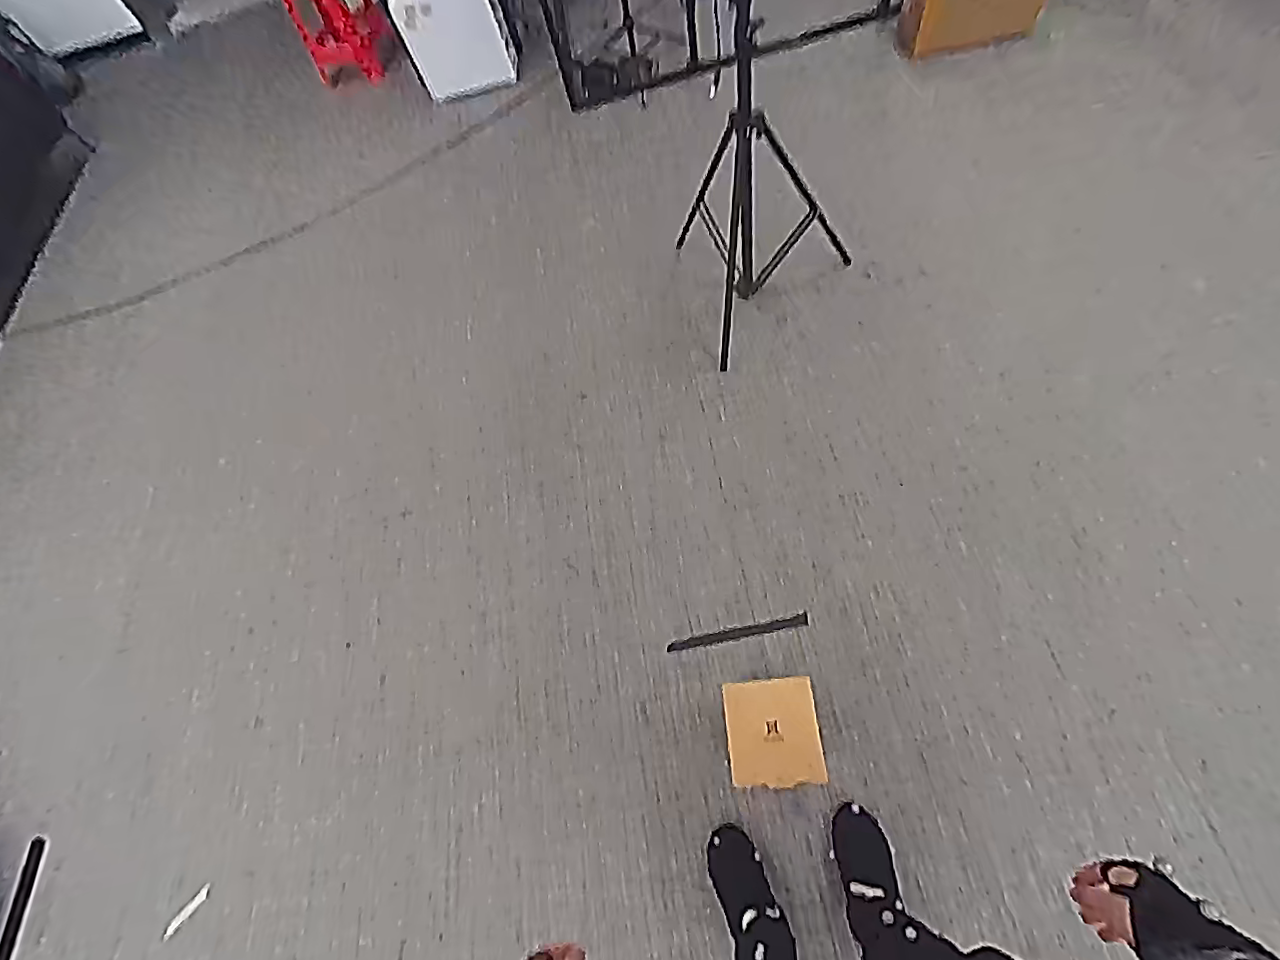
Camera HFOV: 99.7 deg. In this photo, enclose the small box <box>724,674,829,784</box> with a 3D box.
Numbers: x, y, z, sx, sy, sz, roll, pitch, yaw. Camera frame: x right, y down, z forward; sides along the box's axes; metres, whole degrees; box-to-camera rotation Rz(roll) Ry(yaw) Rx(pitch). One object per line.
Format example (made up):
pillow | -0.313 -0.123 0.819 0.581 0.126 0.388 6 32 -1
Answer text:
small box | 0.256 0.483 1.049 0.168 0.176 0.179 -8 64 8
